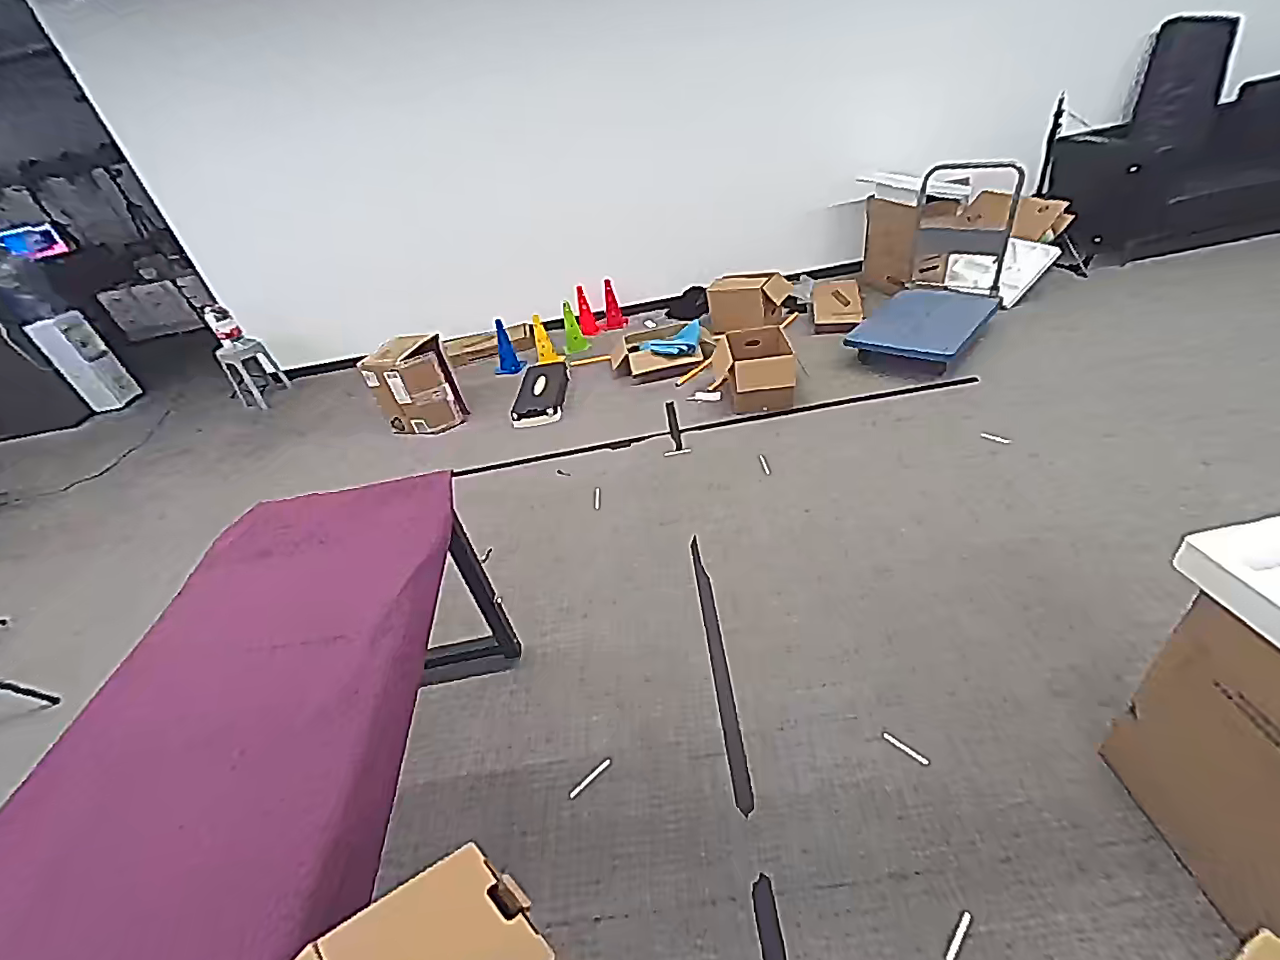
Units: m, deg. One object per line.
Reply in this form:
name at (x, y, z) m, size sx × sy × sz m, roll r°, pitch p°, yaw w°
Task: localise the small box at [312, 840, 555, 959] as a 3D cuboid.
small box at (-0.214, 0.536, 0.553) m, size 0.168 × 0.176 × 0.179 m, roll 25°, pitch 19°, yaw 37°
